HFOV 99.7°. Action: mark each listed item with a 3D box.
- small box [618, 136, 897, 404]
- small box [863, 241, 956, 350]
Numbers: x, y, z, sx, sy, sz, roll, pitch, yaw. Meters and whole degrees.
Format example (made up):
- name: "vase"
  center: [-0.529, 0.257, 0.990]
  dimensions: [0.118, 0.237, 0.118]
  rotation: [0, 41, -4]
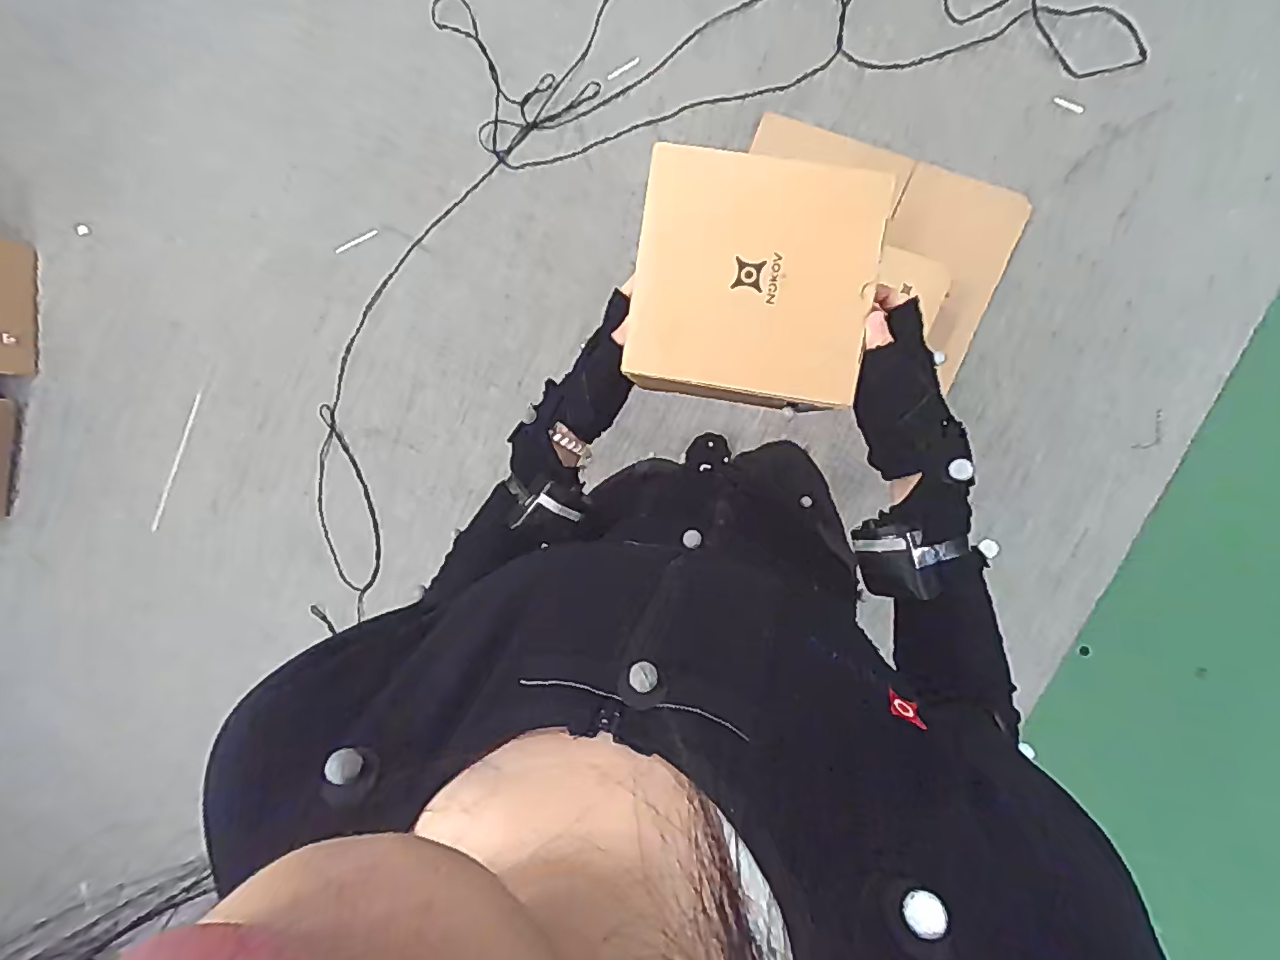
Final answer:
- name: "small box"
  center: [0.086, -0.159, 0.468]
  dimensions: [0.179, 0.176, 0.168]
  rotation: [9, 97, 2]
- name: "small box"
  center: [0.599, -0.427, 1.276]
  dimensions: [0.168, 0.176, 0.179]
  rotation: [23, 97, 8]
